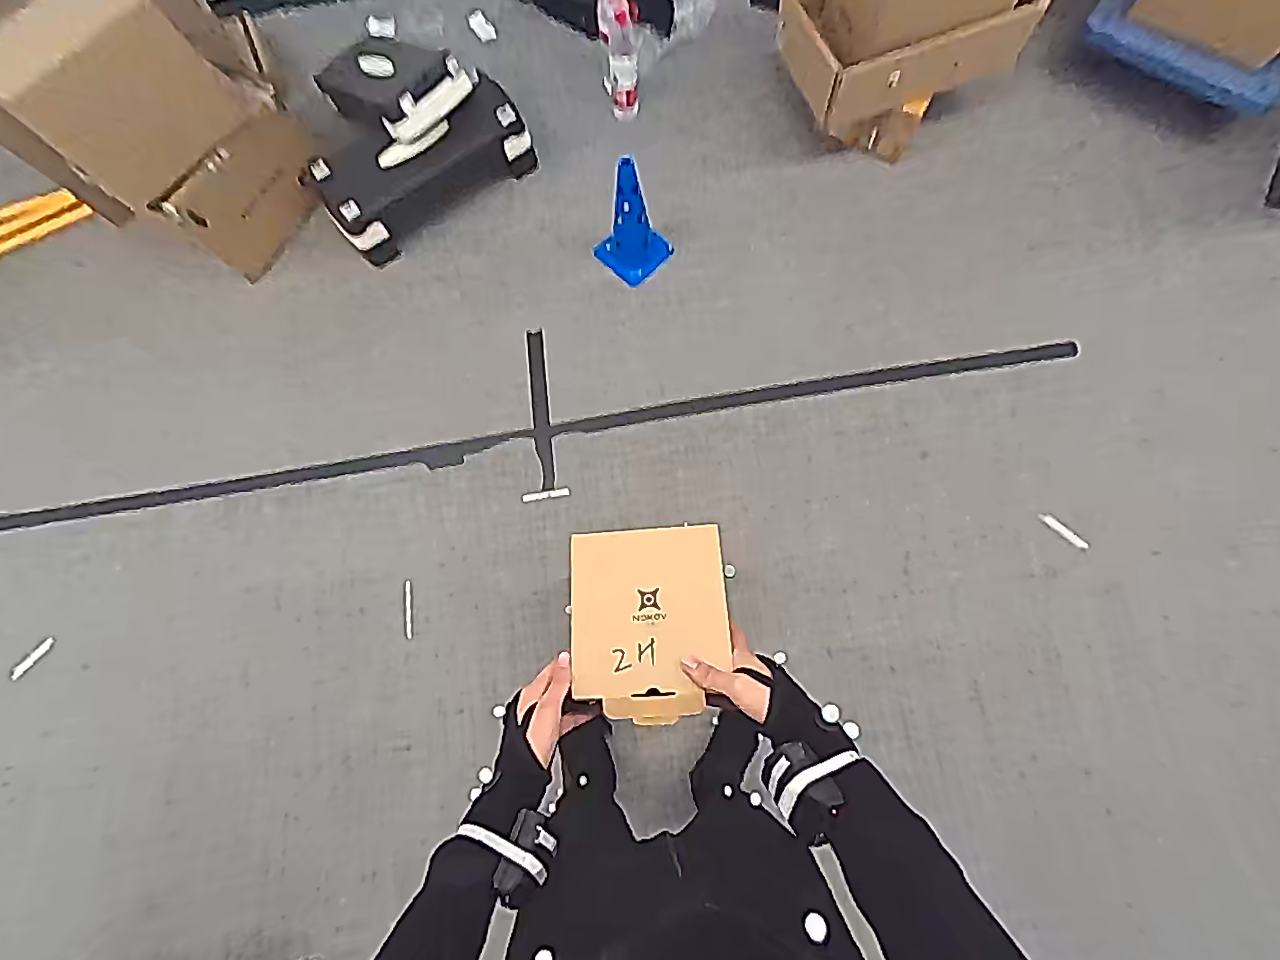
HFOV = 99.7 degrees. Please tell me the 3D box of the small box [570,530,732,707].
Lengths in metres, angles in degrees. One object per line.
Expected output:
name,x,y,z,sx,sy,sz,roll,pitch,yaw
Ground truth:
small box,0.014,0.171,0.643,0.168,0.176,0.179,-4,67,4
